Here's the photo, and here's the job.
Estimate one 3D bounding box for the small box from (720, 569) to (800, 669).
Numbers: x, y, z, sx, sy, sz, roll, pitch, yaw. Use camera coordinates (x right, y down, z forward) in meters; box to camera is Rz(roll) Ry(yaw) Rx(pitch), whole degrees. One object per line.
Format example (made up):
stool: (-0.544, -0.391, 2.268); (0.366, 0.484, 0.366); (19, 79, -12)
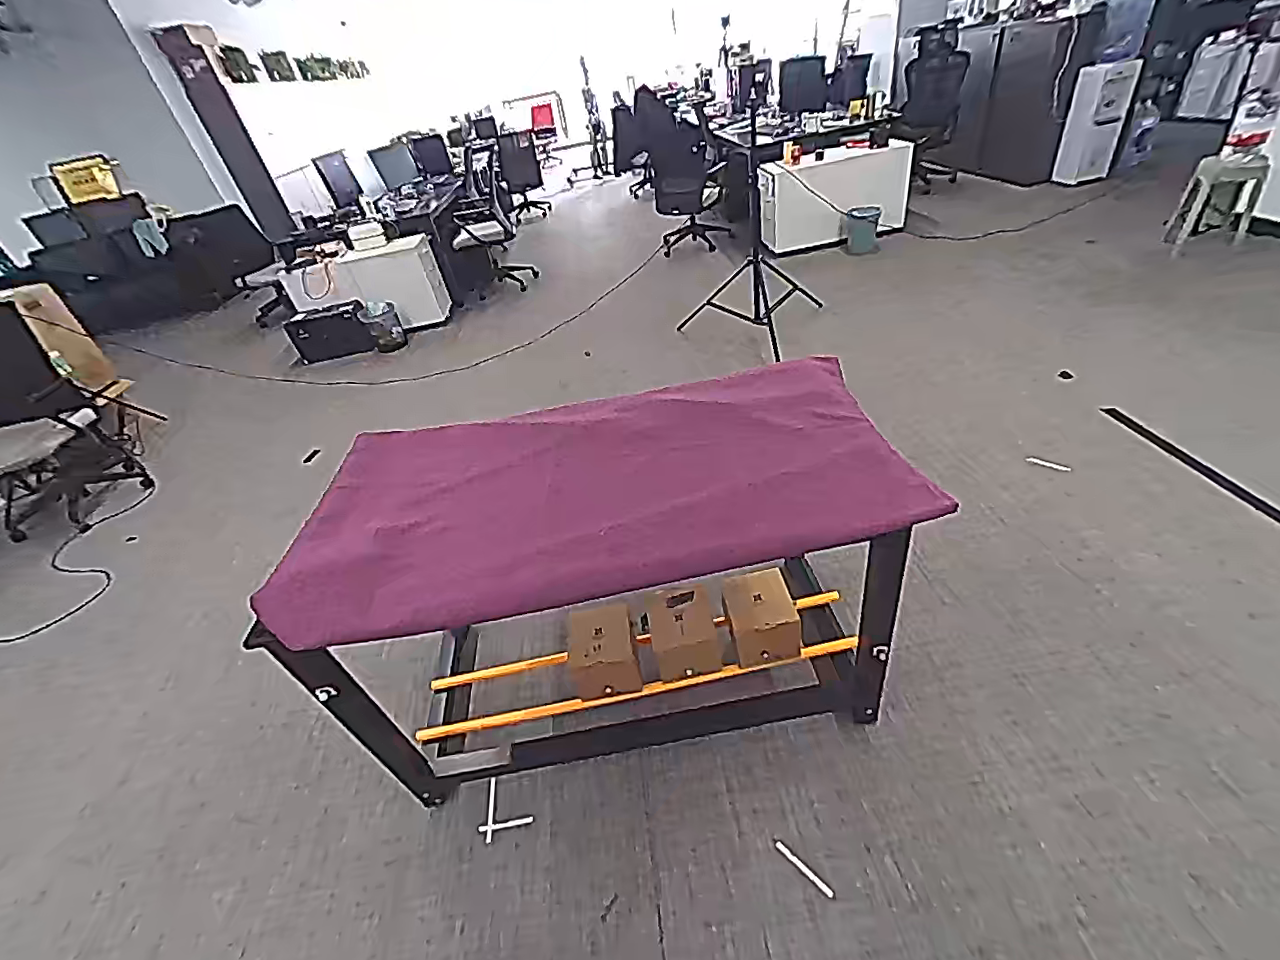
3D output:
small box: (0.313, 0.368, 1.435); (0.168, 0.176, 0.179); (-13, 39, 0)

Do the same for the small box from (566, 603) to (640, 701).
small box: (-0.097, 0.458, 1.438); (0.168, 0.176, 0.179); (-11, 40, 2)
